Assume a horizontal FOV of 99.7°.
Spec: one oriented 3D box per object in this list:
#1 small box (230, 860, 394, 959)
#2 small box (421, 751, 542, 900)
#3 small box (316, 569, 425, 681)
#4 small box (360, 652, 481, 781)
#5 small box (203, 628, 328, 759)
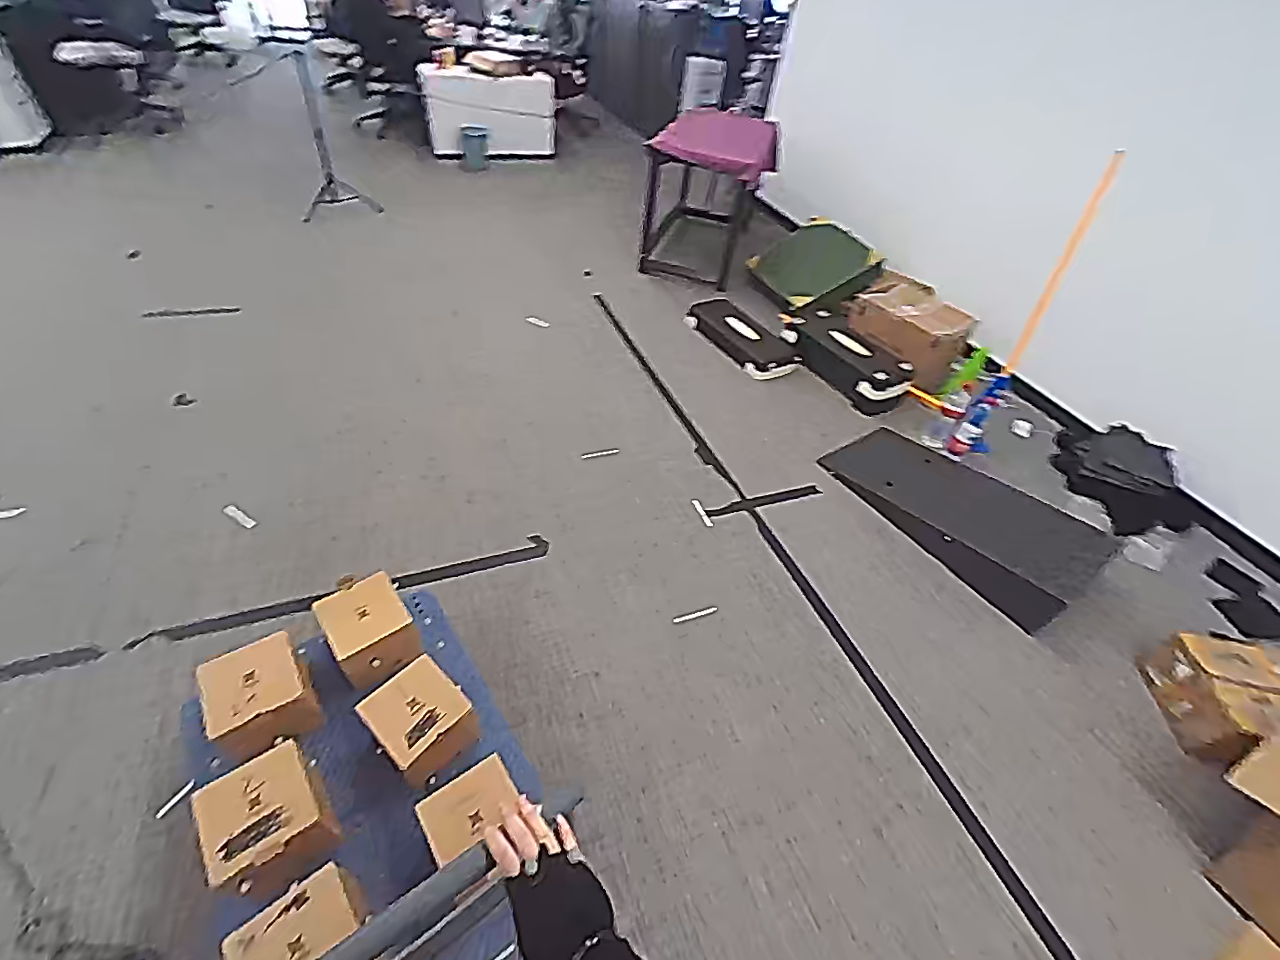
[{"bbox_3d":[-0.534,0.785,0.900,0.168,0.176,0.179,-27,56,-32],"label":"small box"},{"bbox_3d":[-0.301,0.674,1.050,0.168,0.176,0.179,-24,54,-30],"label":"small box"},{"bbox_3d":[-0.642,0.357,1.304,0.168,0.176,0.179,-28,56,-31],"label":"small box"},{"bbox_3d":[-0.466,0.519,1.173,0.179,0.176,0.168,35,50,24],"label":"small box"},{"bbox_3d":[-0.804,0.463,1.170,0.168,0.176,0.179,-23,54,-28],"label":"small box"}]
